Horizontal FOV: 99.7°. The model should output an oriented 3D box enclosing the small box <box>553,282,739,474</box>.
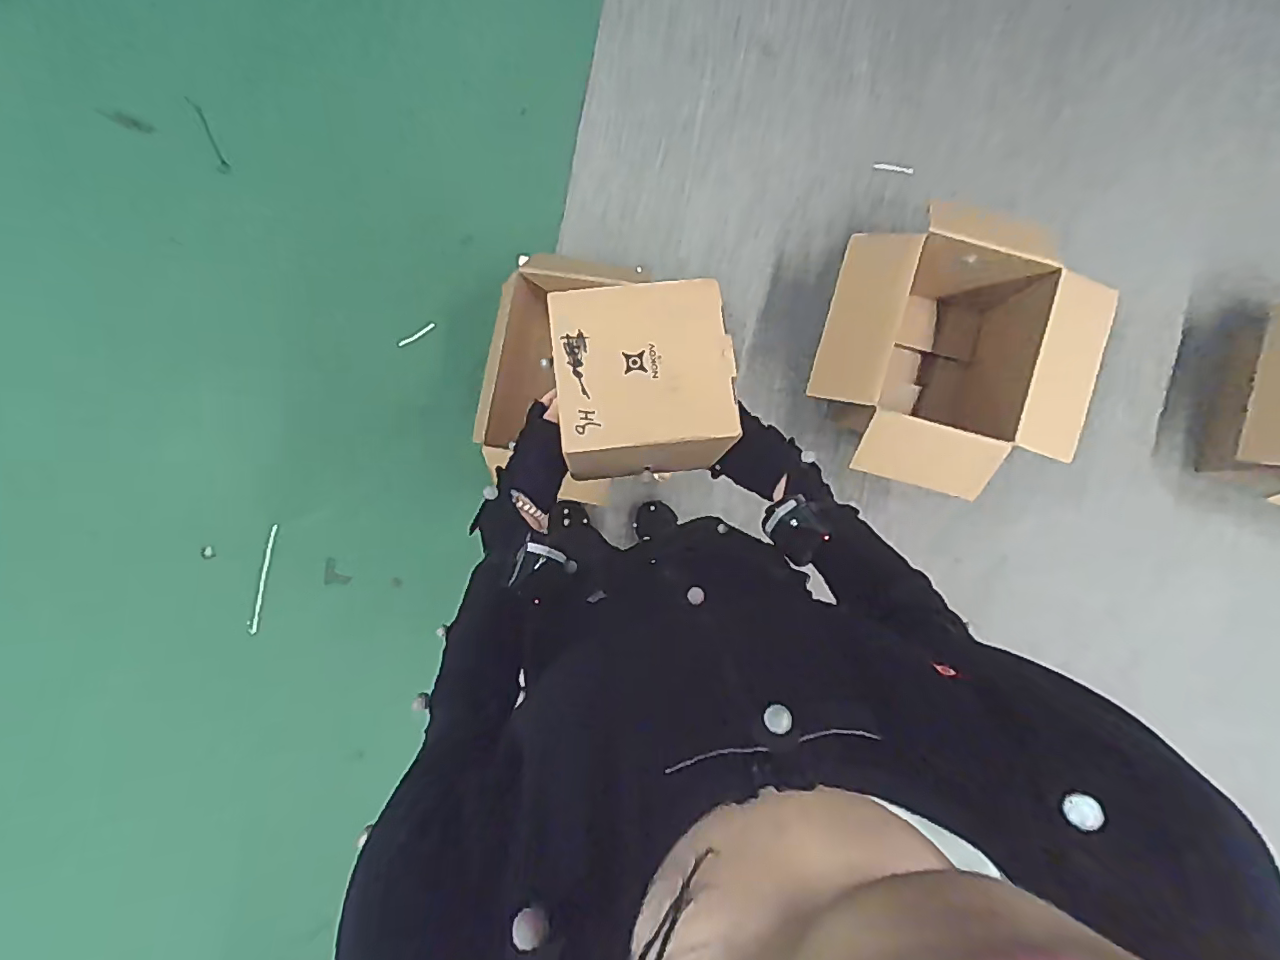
[{"bbox_3d":[-0.002,-0.104,0.611,0.179,0.176,0.168,-5,80,-5],"label":"small box"}]
